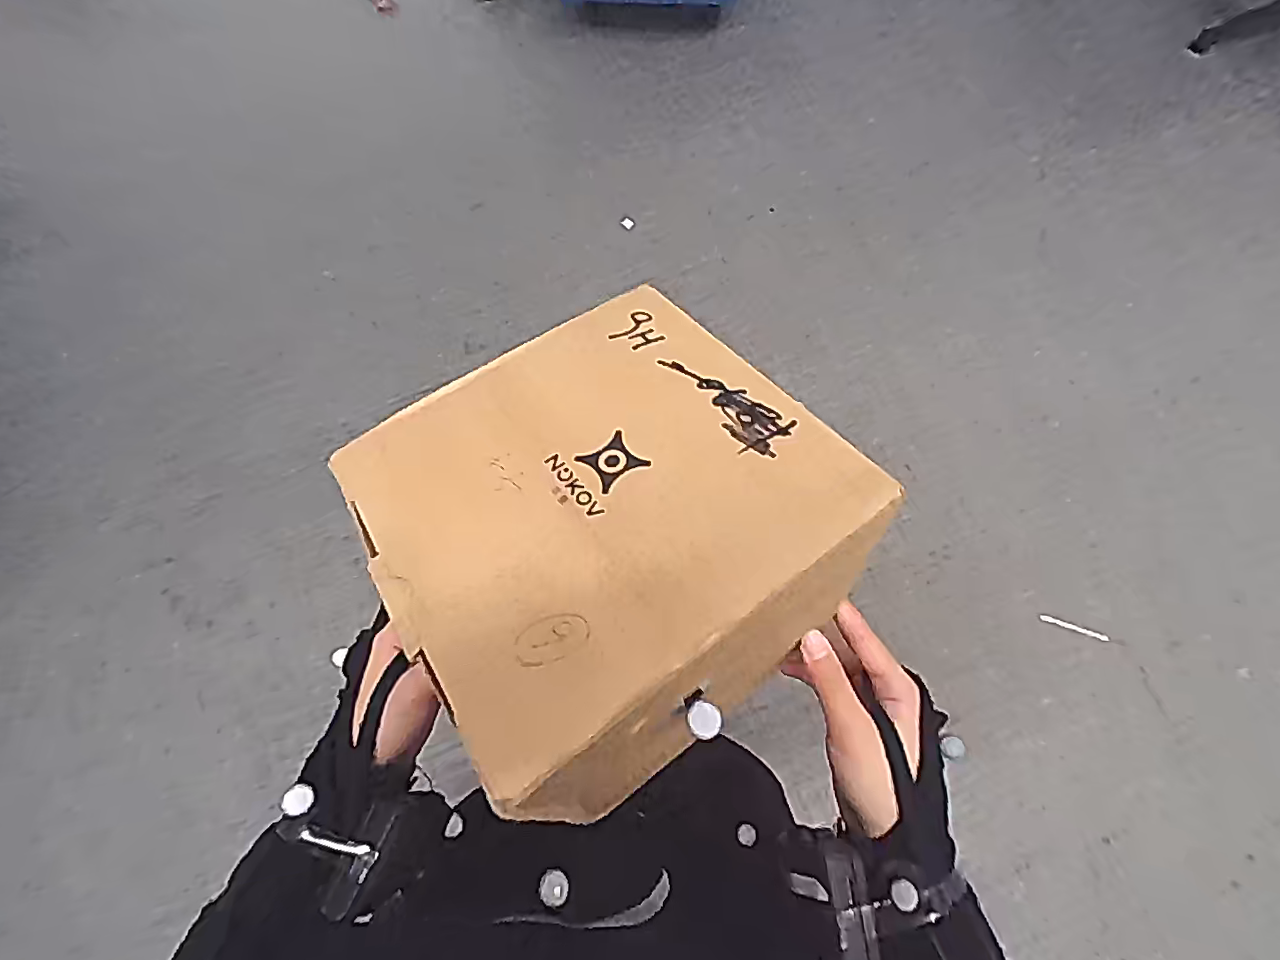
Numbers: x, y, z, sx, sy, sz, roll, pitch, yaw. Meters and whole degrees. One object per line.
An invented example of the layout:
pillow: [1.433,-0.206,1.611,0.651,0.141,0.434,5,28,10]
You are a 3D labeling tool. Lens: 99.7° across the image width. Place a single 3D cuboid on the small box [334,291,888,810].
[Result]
small box: [-0.012,0.044,0.284,0.179,0.176,0.168,-34,59,-14]
